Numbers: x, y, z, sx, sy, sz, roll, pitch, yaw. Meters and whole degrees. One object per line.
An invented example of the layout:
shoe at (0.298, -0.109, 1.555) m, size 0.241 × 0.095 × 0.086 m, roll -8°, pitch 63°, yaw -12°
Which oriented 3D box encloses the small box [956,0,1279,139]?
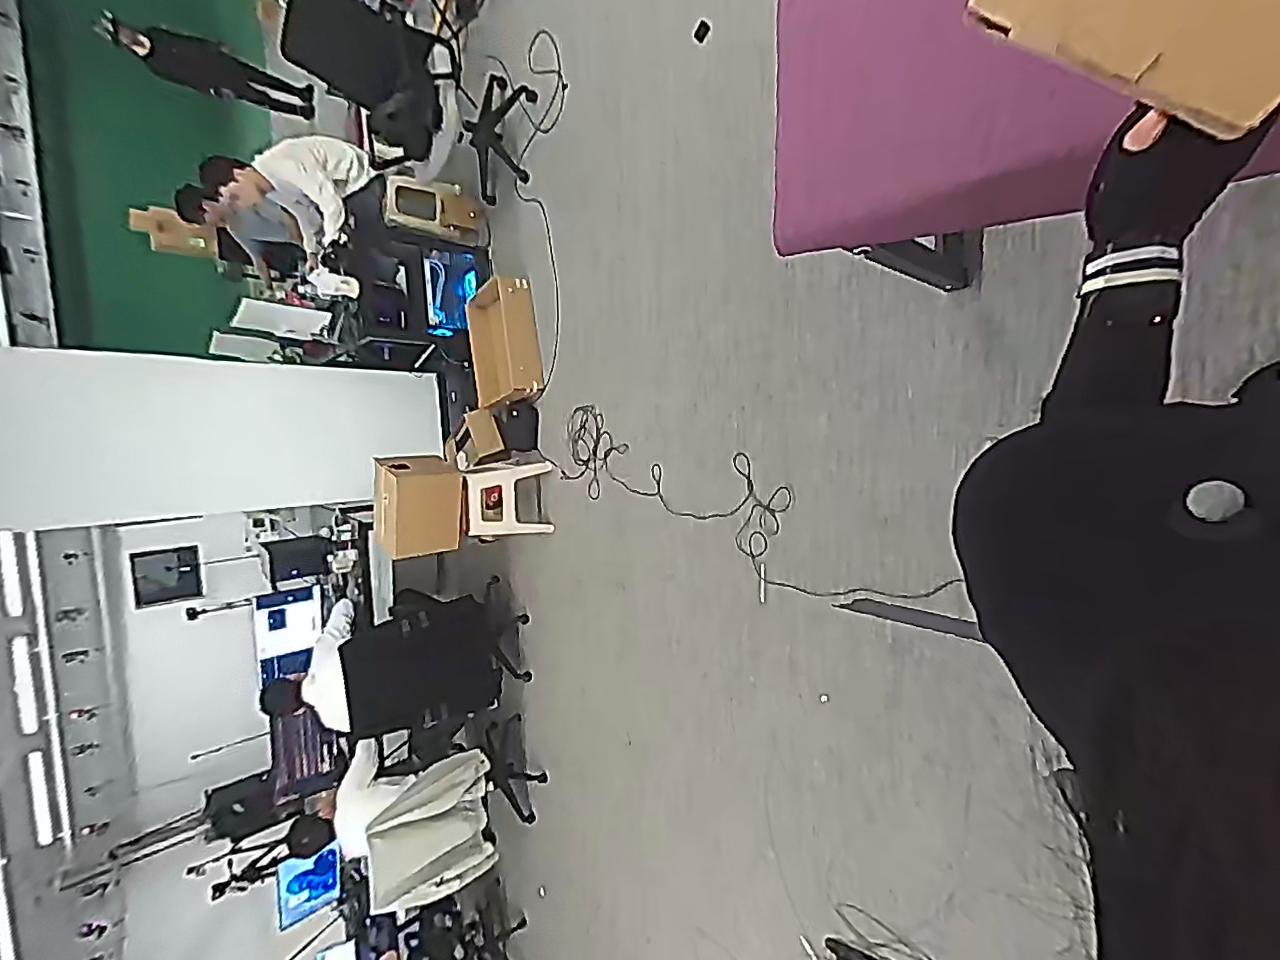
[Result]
small box at (0.315, -0.311, 0.289) m, size 0.168 × 0.179 × 0.176 m, roll 41°, pitch 137°, yaw 15°
